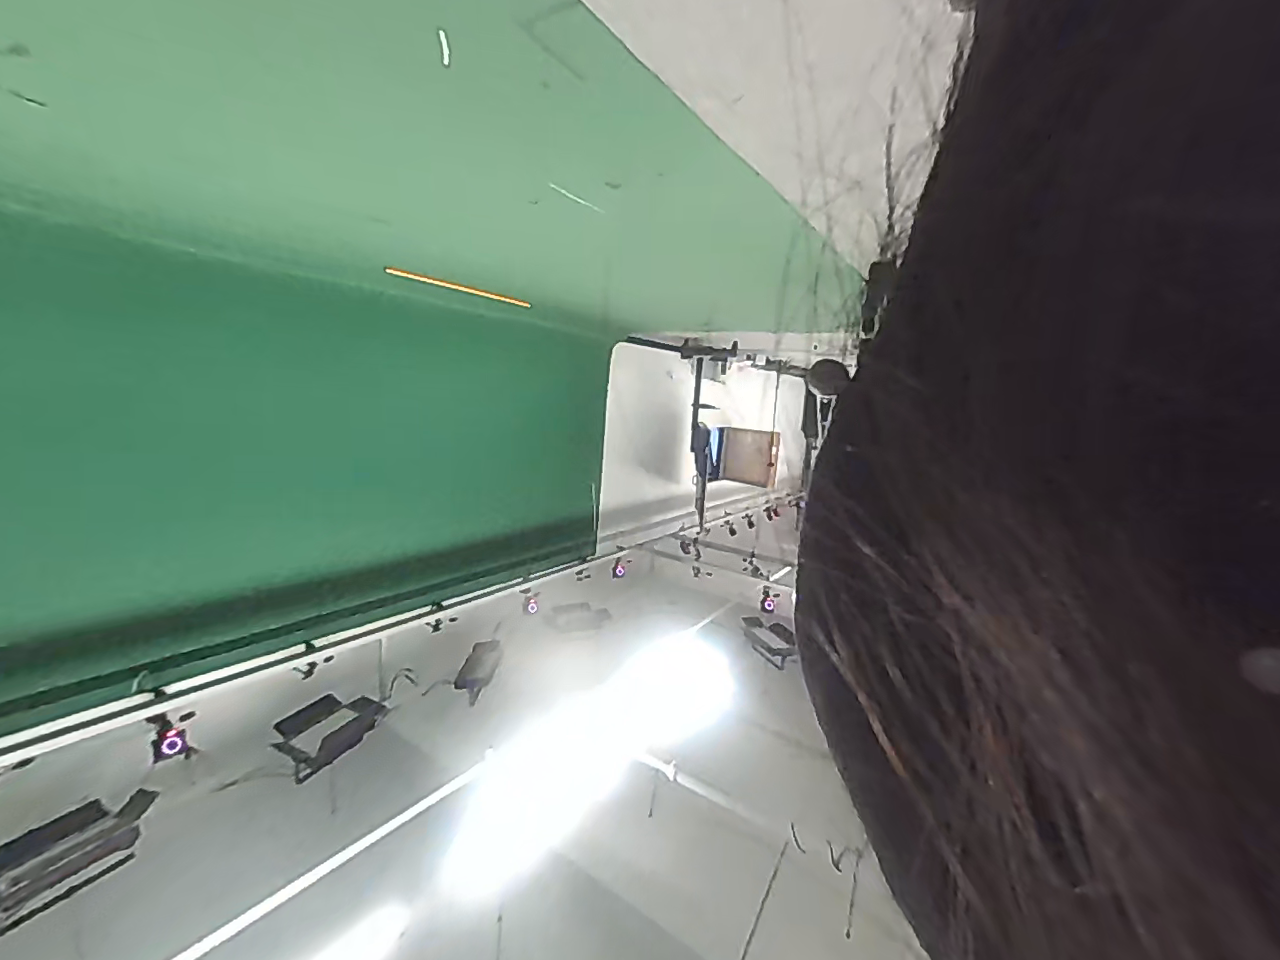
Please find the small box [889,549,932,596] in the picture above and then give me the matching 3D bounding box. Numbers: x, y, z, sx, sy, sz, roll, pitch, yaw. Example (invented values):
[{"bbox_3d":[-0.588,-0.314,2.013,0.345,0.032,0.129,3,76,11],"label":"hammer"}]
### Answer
[{"bbox_3d":[1.315,0.440,2.625,0.168,0.176,0.179,10,-169,27],"label":"small box"}]
